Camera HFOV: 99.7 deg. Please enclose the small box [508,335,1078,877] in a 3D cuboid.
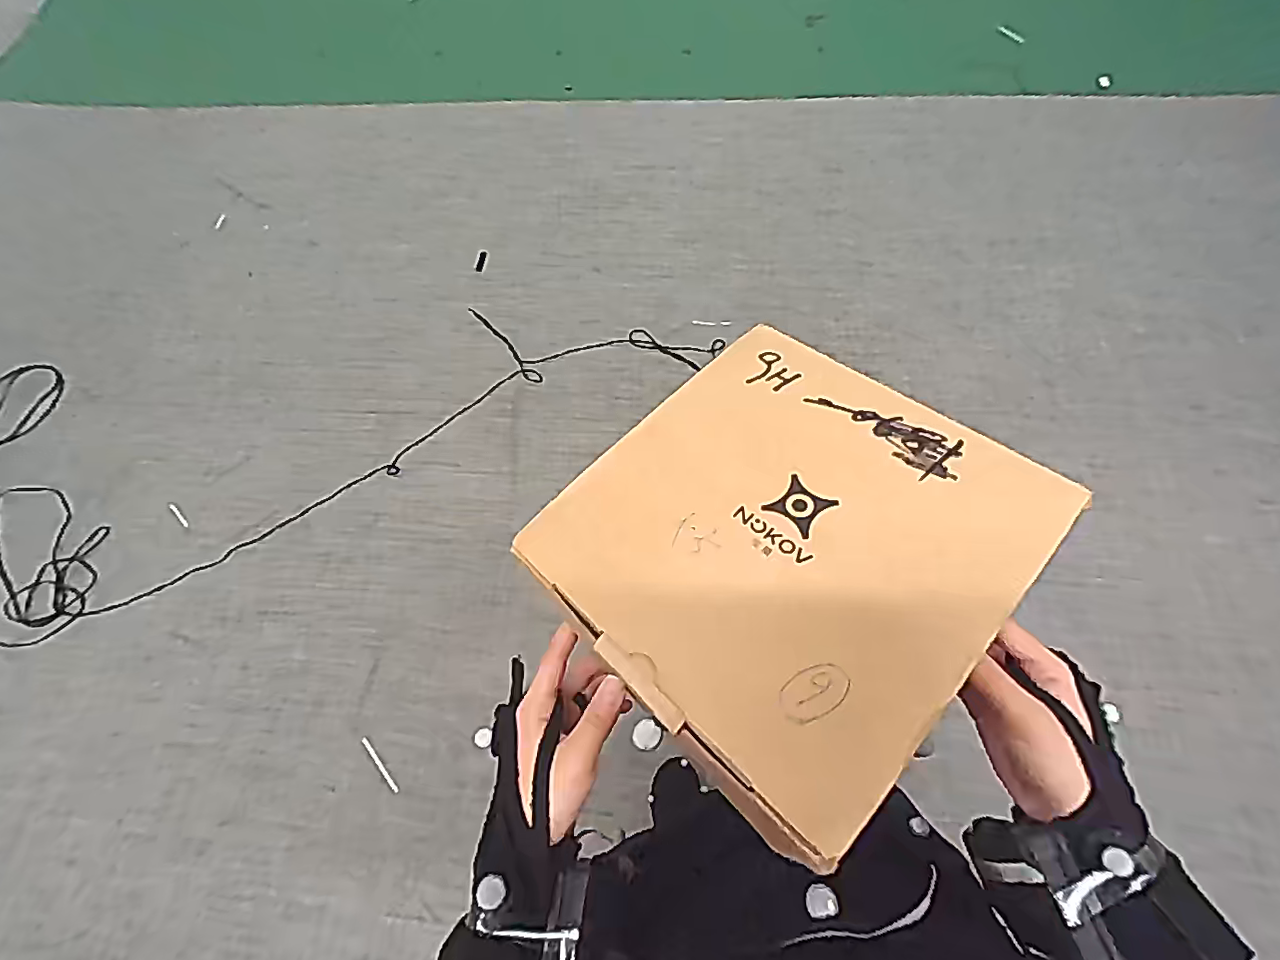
[{"bbox_3d":[0.068,0.065,0.289,0.179,0.176,0.168,-42,60,-17],"label":"small box"}]
